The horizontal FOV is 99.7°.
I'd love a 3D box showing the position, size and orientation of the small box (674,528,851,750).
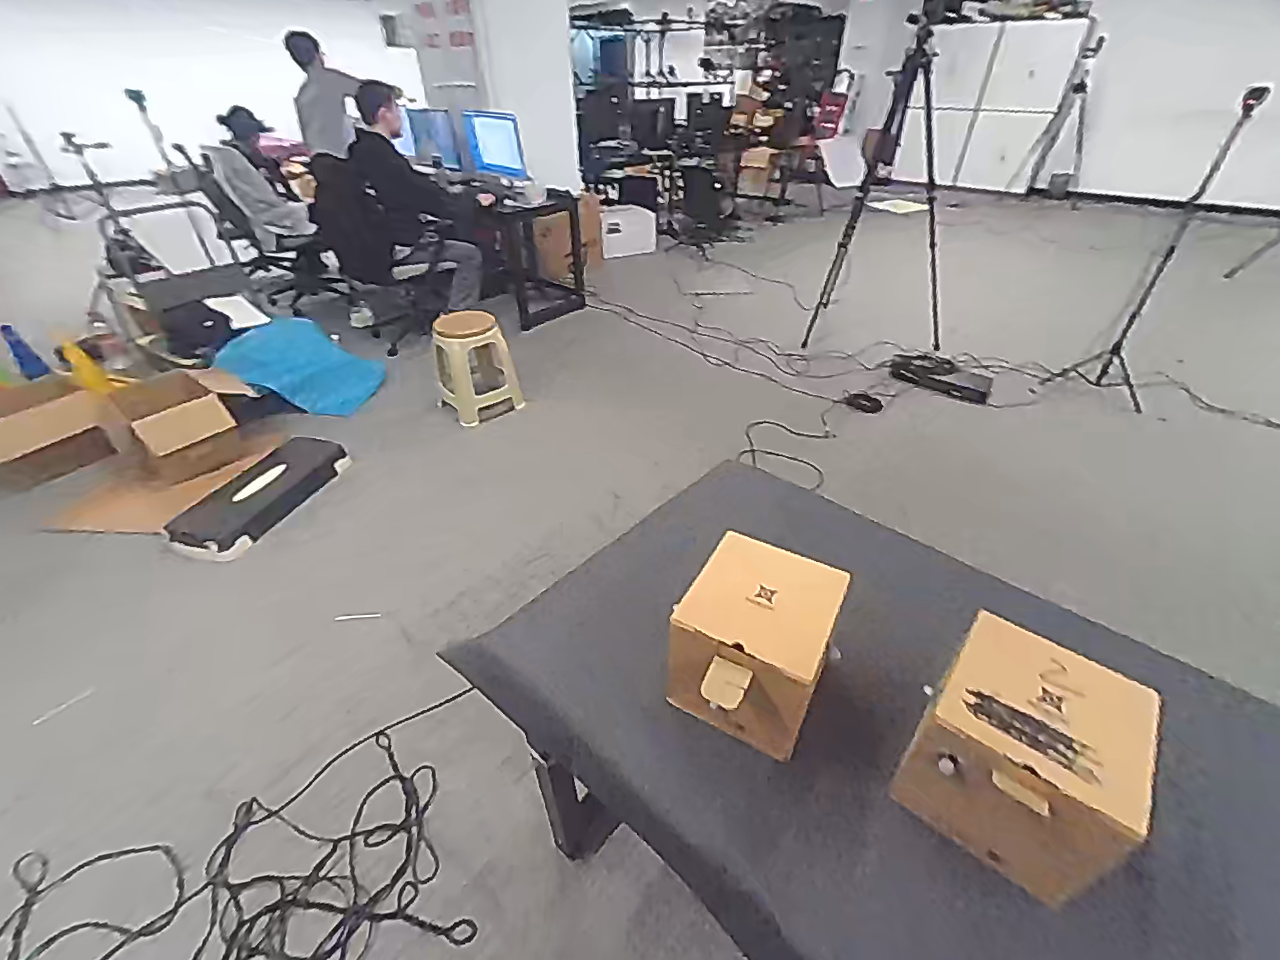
[{"bbox_3d":[0.149,0.198,0.691,0.168,0.176,0.179,19,42,23],"label":"small box"}]
